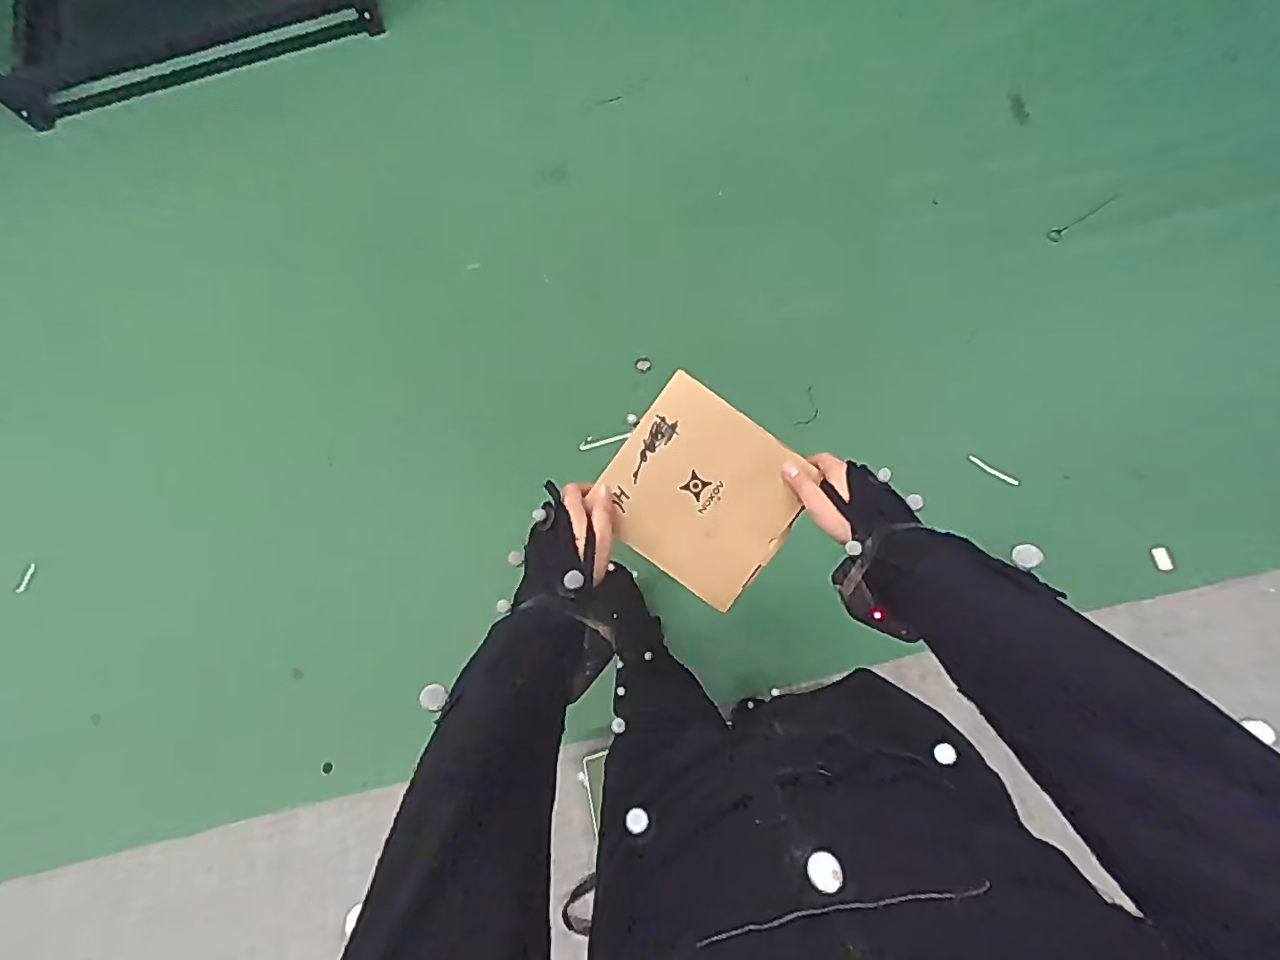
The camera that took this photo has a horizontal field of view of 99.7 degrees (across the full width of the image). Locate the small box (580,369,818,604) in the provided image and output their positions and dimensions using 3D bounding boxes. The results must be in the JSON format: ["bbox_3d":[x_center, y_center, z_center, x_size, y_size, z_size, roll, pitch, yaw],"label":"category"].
[{"bbox_3d":[0.057,0.005,0.600,0.179,0.176,0.168,37,90,0],"label":"small box"}]
